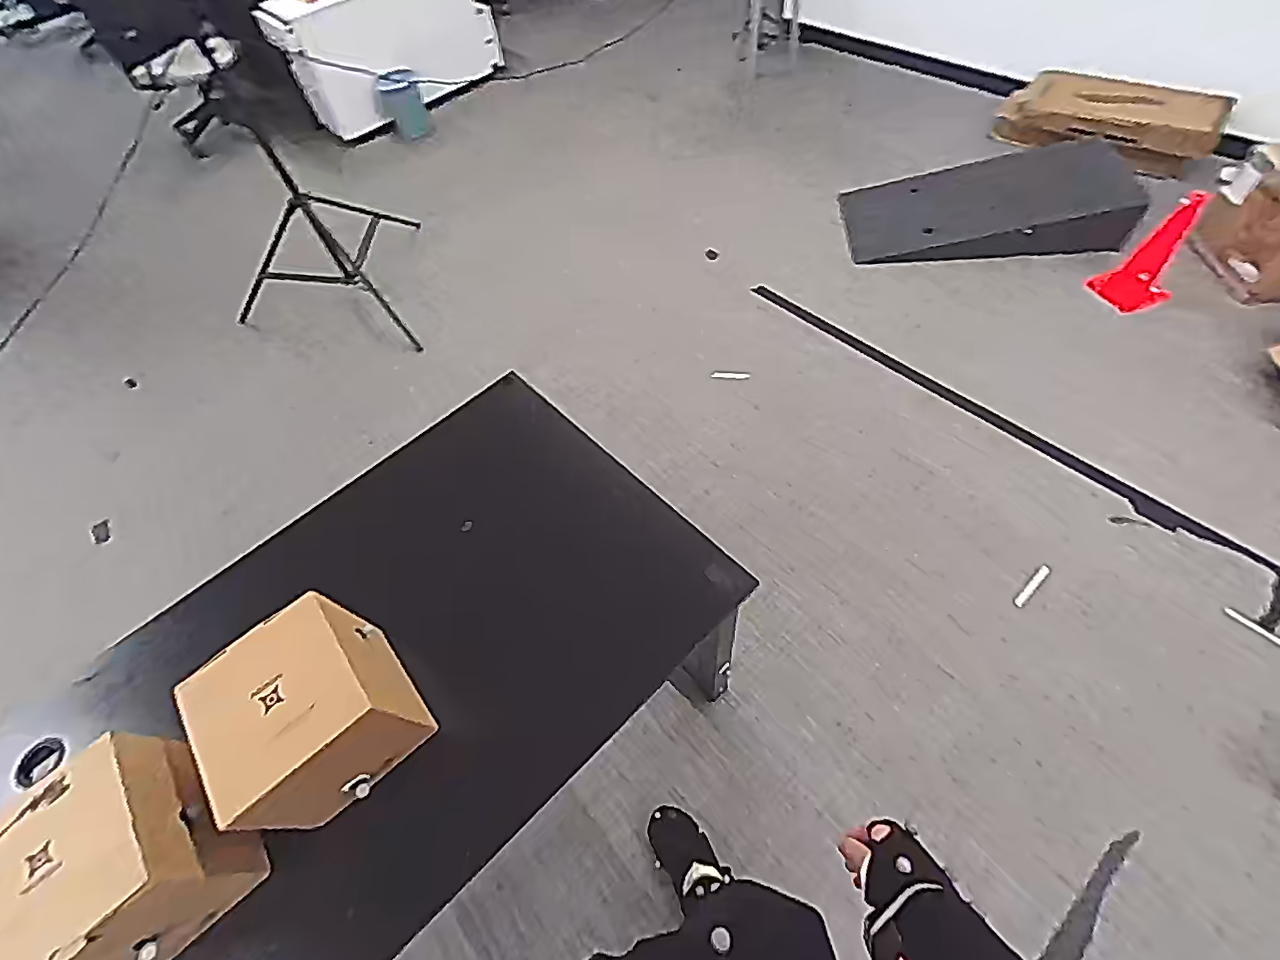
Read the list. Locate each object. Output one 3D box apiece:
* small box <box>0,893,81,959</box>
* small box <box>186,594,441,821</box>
[{"bbox_3d":[-0.702,0.542,0.515,0.168,0.176,0.179,38,68,26],"label":"small box"},{"bbox_3d":[-0.378,0.275,0.650,0.168,0.176,0.179,-40,63,-16],"label":"small box"}]
